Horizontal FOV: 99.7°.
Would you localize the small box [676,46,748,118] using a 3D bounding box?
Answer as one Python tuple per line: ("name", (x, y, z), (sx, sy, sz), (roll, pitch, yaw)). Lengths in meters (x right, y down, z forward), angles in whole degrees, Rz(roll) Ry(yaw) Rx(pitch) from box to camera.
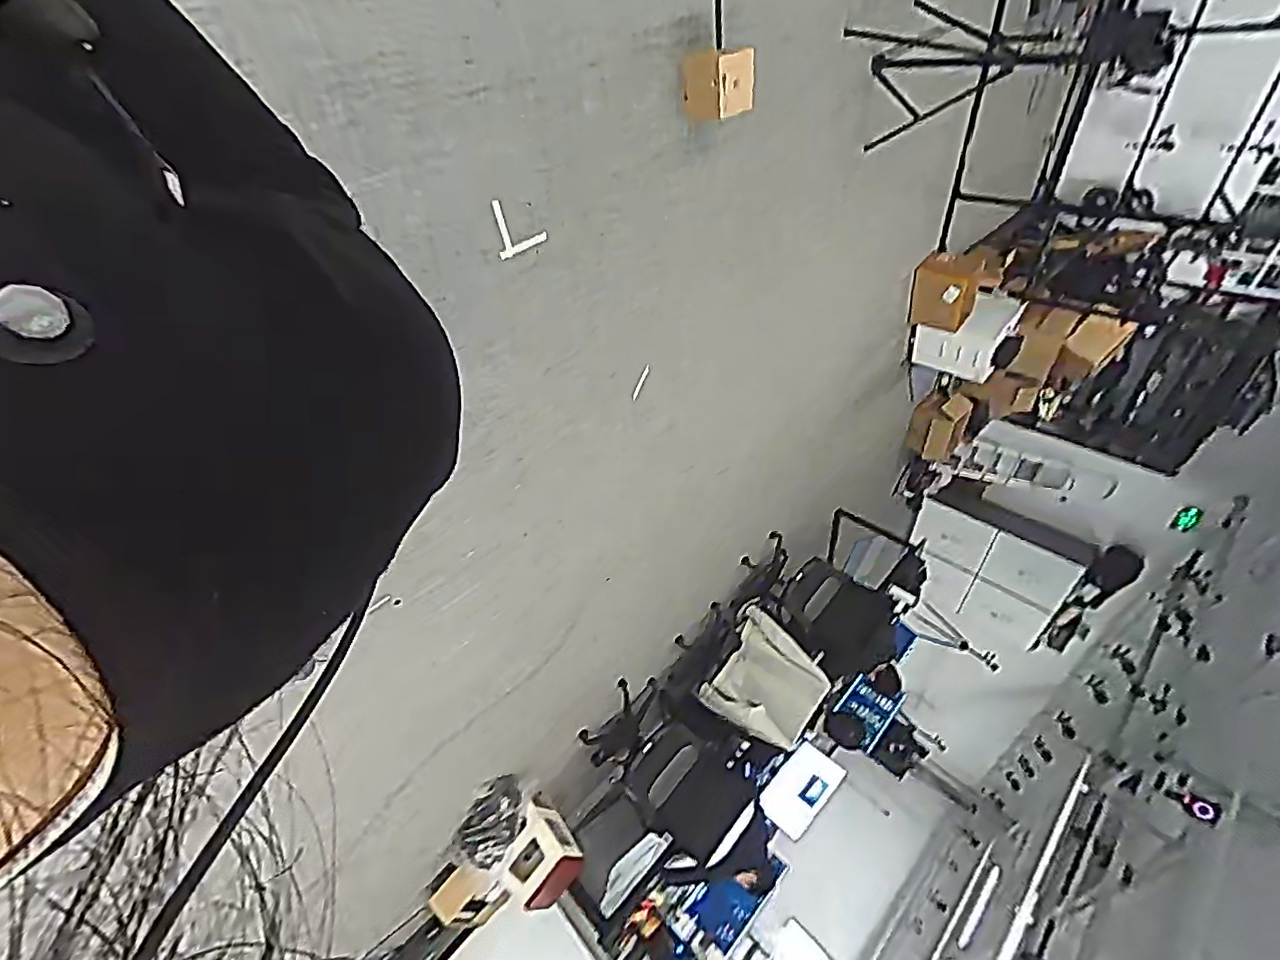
("small box", (0.238, -1.316, 1.784), (0.179, 0.176, 0.168), (-40, 140, -27))
